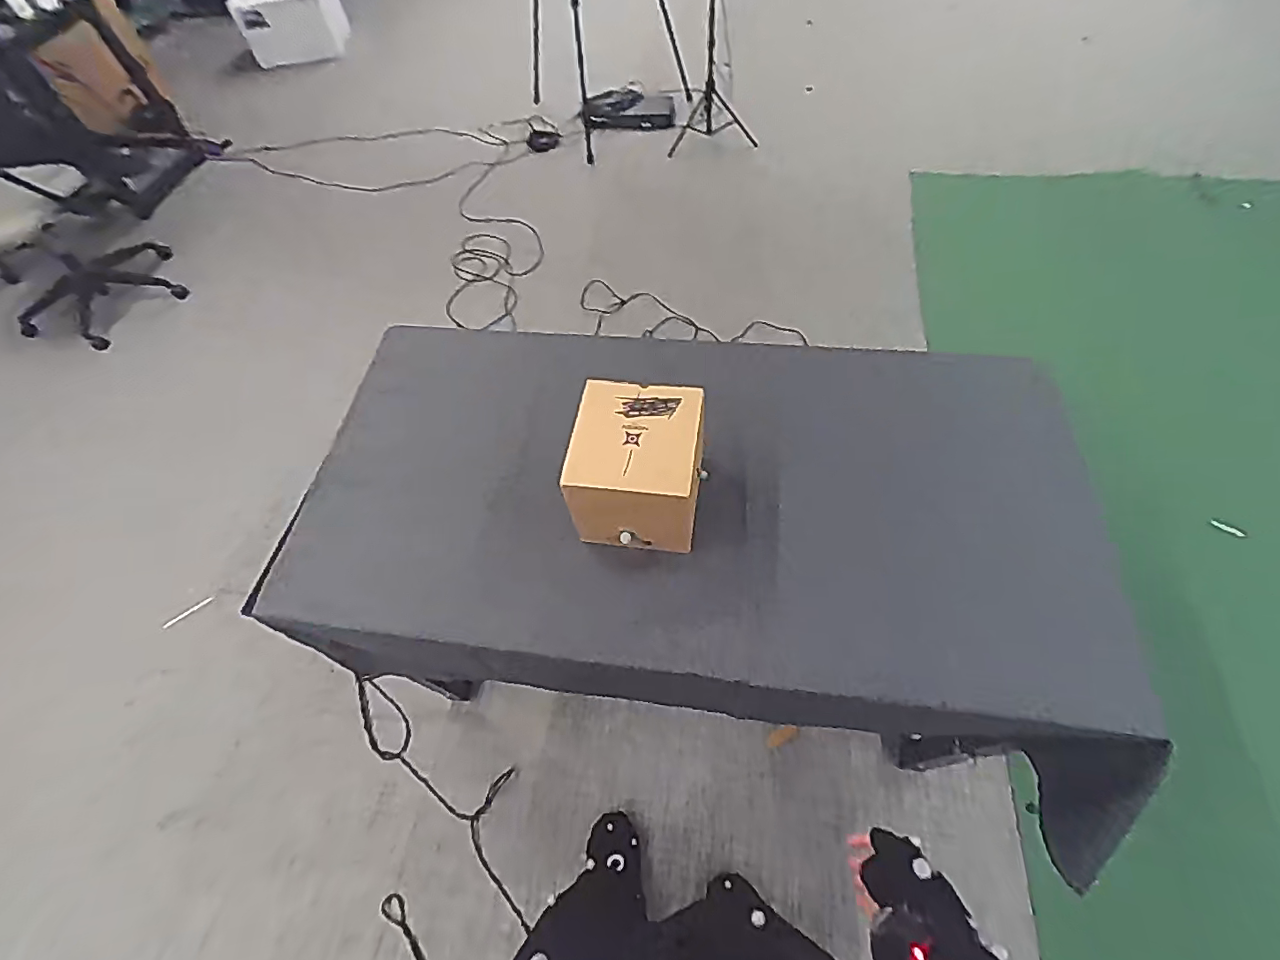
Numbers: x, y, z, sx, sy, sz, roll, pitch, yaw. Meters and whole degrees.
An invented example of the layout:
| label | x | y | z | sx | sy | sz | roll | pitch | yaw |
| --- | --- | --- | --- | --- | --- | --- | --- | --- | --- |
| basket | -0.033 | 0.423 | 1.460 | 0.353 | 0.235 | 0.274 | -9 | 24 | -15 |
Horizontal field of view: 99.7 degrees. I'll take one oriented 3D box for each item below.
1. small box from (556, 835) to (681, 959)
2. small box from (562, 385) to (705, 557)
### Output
| label | x | y | z | sx | sy | sz | roll | pitch | yaw |
| --- | --- | --- | --- | --- | --- | --- | --- | --- | --- |
| small box | -0.048 | 0.855 | 1.104 | 0.179 | 0.176 | 0.168 | 15 | 68 | 36 |
| small box | 0.000 | -0.011 | 0.775 | 0.168 | 0.176 | 0.179 | 6 | 58 | 9 |
